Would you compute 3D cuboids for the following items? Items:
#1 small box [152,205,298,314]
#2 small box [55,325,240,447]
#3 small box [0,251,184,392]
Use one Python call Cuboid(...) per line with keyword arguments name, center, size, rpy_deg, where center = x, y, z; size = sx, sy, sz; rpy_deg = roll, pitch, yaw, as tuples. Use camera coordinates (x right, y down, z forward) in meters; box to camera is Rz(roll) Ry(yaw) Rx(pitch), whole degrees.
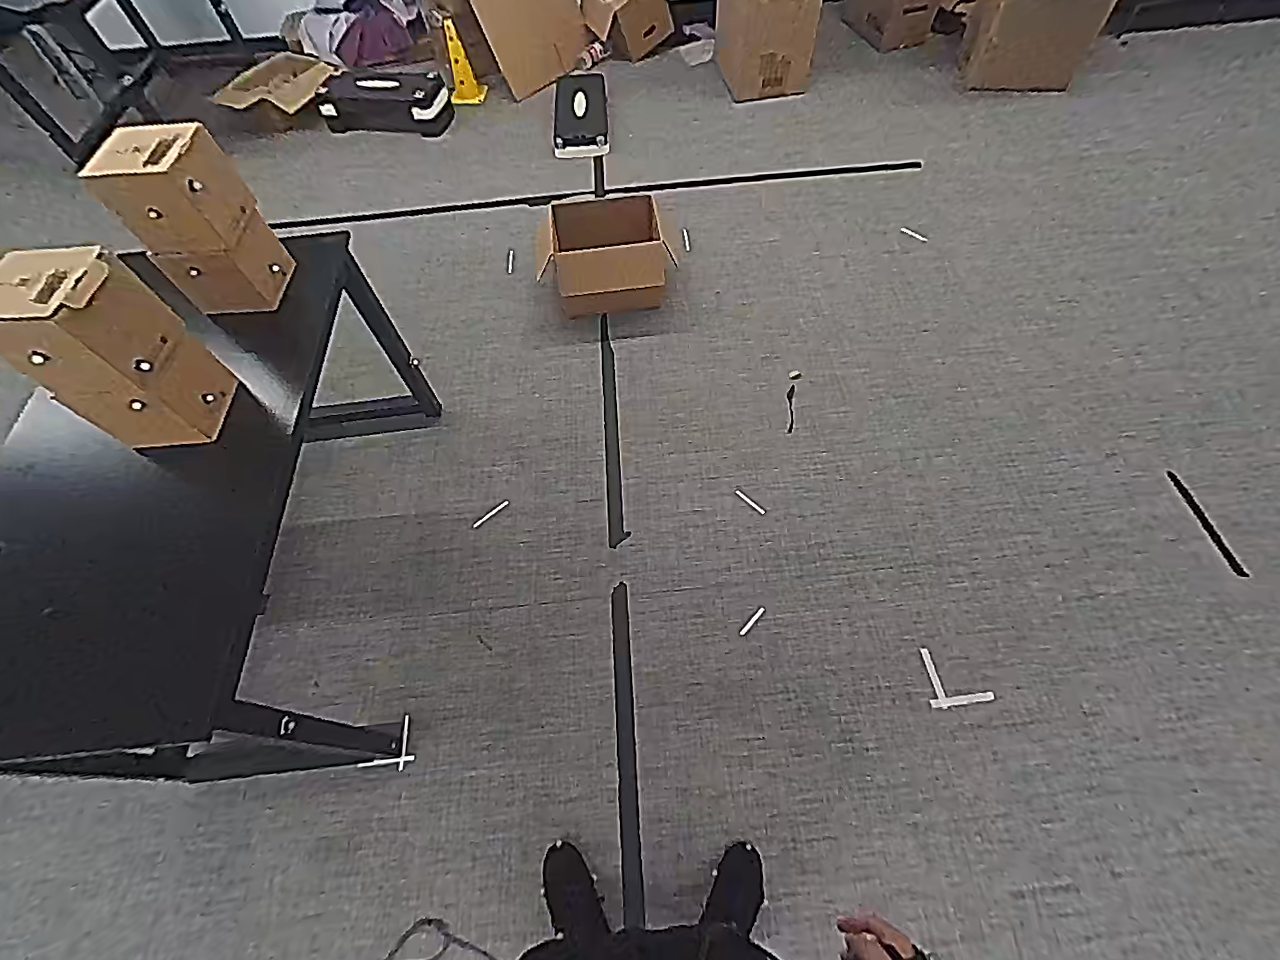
Cuboid(name="small box", center=(-0.937, -0.499, 1.240), size=(0.179, 0.176, 0.168), rpy_deg=(-2, 61, 3))
Cuboid(name="small box", center=(-0.943, -0.178, 1.057), size=(0.179, 0.176, 0.168), rpy_deg=(-5, 60, 0))
Cuboid(name="small box", center=(-0.942, -0.263, 0.916), size=(0.179, 0.176, 0.168), rpy_deg=(-1, 59, 3))
